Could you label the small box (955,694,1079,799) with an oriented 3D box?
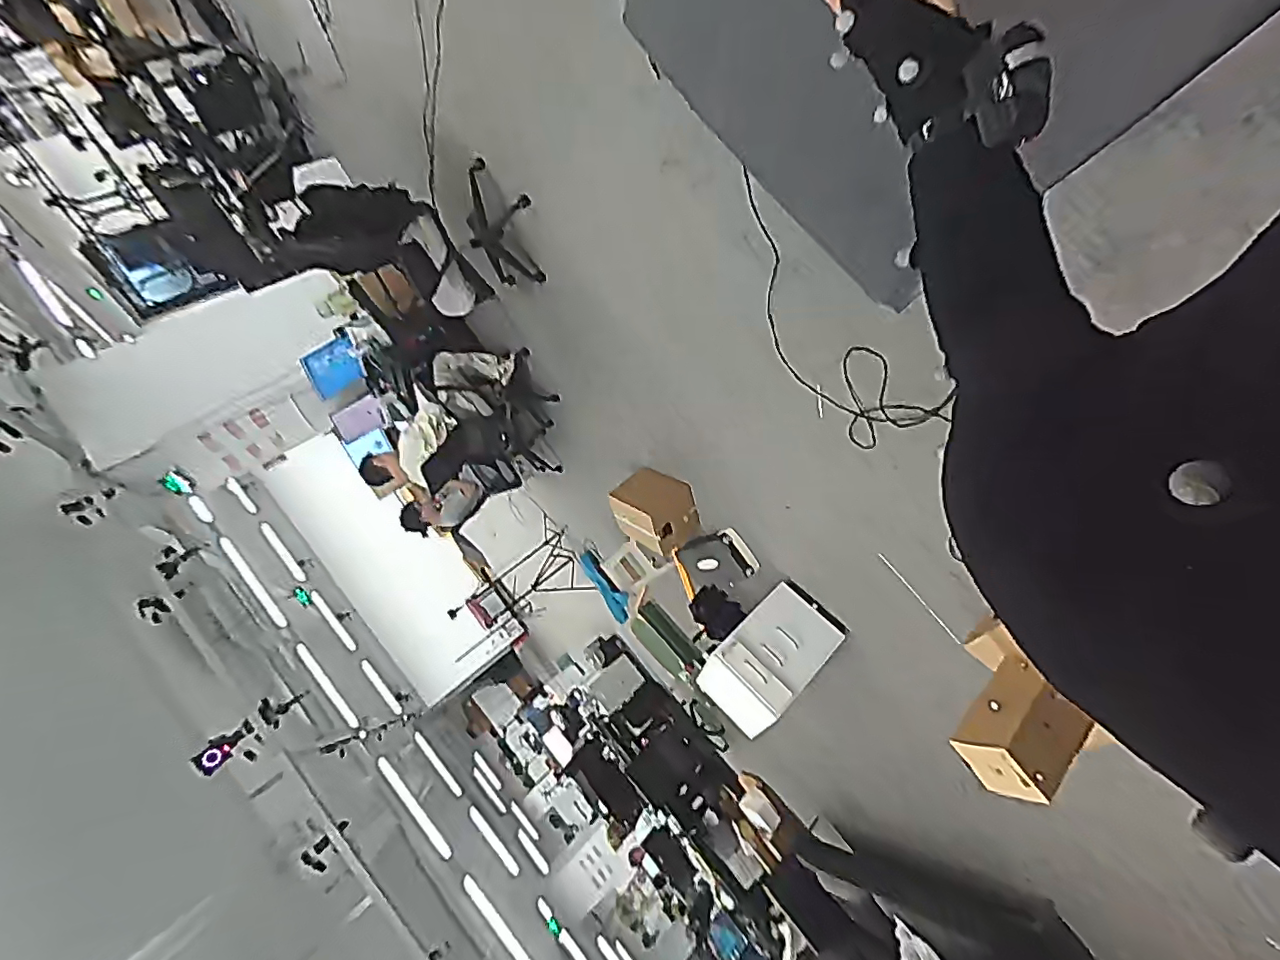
[{"bbox_3d":[0.980,0.682,1.407,0.168,0.176,0.179,50,156,4],"label":"small box"}]
